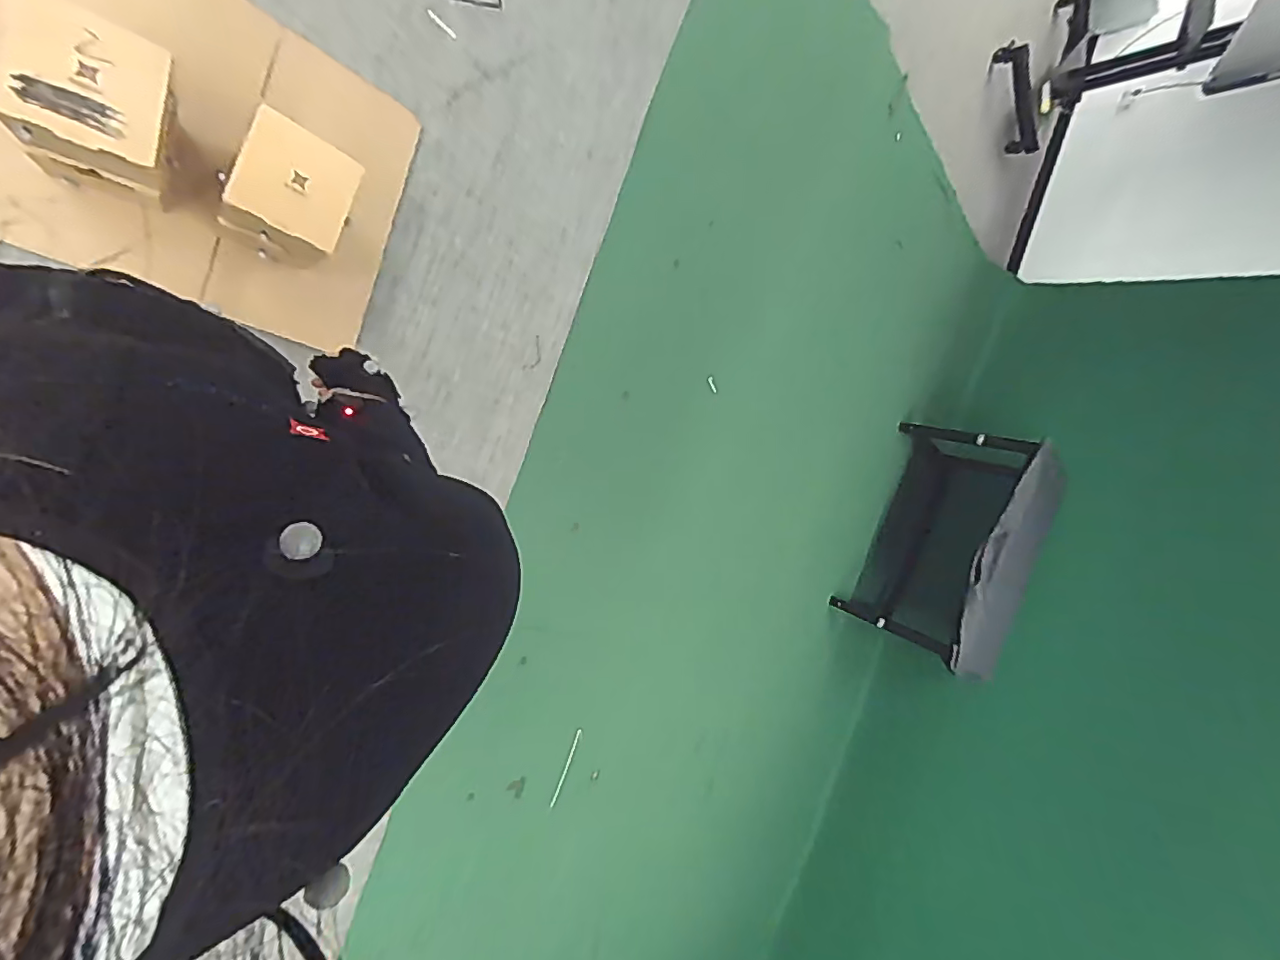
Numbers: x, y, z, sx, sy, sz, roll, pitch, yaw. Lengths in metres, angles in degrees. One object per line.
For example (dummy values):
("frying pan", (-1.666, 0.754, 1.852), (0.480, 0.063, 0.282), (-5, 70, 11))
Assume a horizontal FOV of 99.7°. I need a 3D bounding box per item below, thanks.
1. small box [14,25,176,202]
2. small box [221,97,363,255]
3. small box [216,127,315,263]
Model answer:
("small box", (-0.918, -0.606, 0.927), (0.168, 0.176, 0.179), (11, 96, -42))
("small box", (-0.633, -0.533, 0.977), (0.168, 0.176, 0.179), (21, 90, -42))
("small box", (-0.739, -0.564, 1.097), (0.168, 0.176, 0.179), (17, 92, -40))
